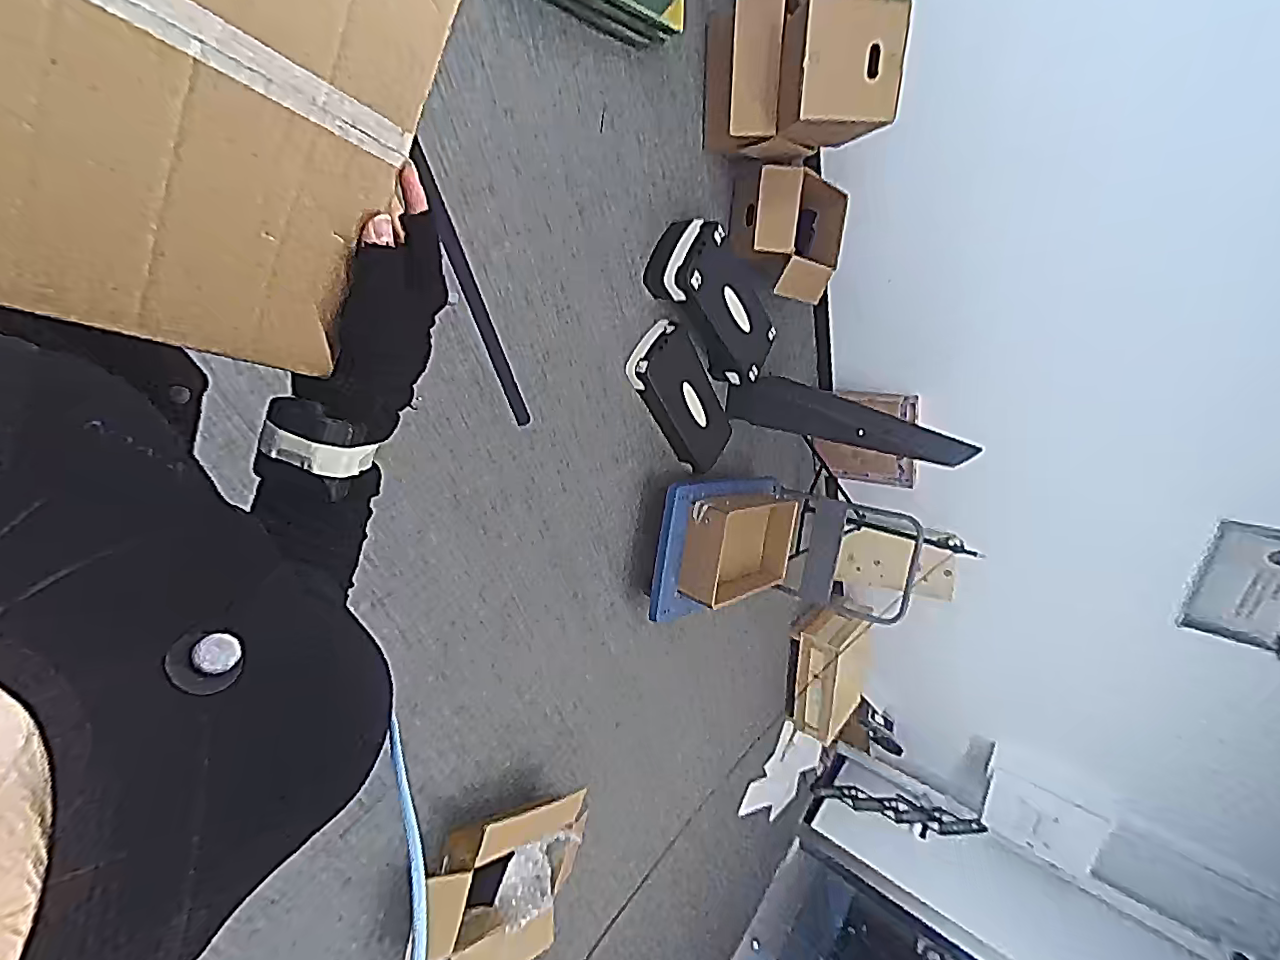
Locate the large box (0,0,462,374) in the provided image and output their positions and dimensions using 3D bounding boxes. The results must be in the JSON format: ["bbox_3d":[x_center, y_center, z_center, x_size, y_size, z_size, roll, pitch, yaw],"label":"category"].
[{"bbox_3d":[-0.366,-0.300,0.284,0.408,0.320,0.320,9,118,-48],"label":"large box"}]
